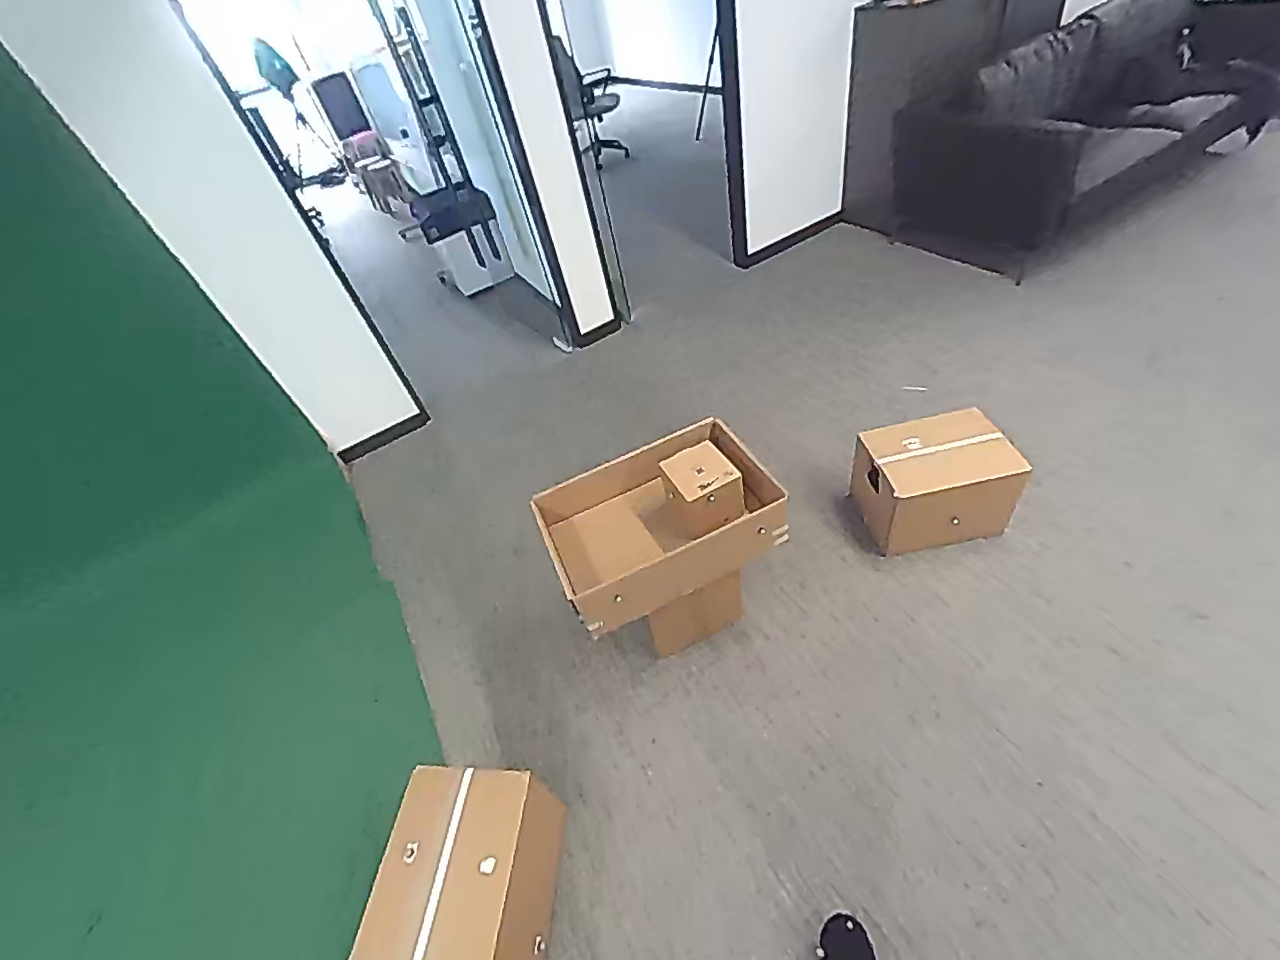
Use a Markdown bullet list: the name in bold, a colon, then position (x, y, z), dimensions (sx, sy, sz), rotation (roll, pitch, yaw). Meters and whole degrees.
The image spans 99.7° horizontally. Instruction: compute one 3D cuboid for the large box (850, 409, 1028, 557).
- **large box**: position (0.971, 0.015, 1.816), dimensions (0.408, 0.320, 0.320), rotation (-13, 45, 3)
